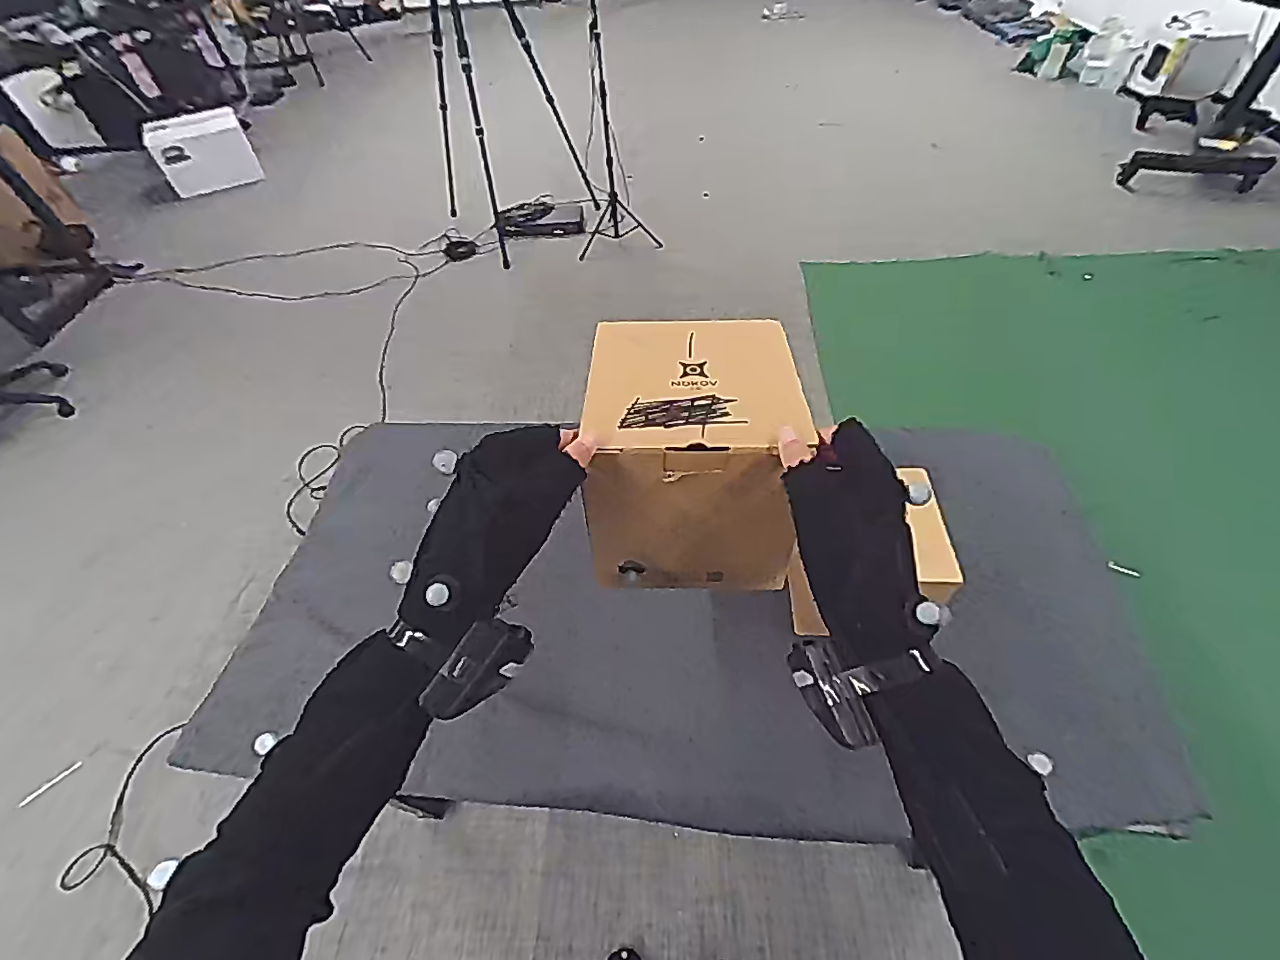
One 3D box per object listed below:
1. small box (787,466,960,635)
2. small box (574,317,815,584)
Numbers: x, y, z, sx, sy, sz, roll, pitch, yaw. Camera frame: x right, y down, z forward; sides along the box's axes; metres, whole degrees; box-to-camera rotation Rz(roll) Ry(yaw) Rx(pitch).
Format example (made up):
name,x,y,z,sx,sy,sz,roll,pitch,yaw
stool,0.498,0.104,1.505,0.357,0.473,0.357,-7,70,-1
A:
name,x,y,z,sx,sy,sz,roll,pitch,yaw
small box,0.299,0.099,0.739,0.168,0.176,0.179,0,50,6
small box,0.044,-0.024,0.476,0.168,0.176,0.179,0,45,3
